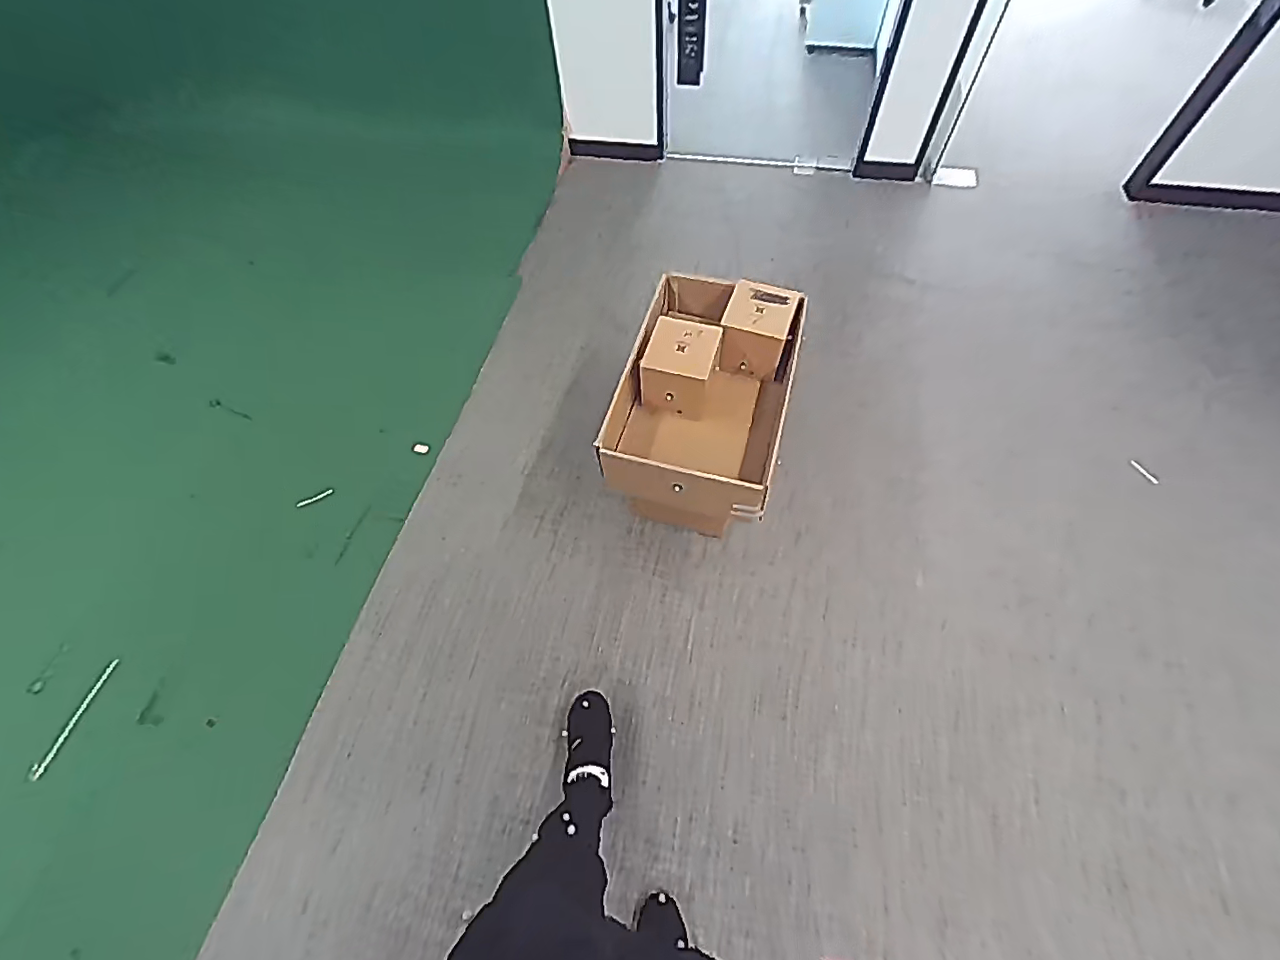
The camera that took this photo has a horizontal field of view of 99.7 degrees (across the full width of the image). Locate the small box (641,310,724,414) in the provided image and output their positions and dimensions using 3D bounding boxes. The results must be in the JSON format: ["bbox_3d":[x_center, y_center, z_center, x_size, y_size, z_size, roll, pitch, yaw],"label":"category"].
[{"bbox_3d":[0.107,-0.293,1.364,0.168,0.176,0.179,15,63,9],"label":"small box"}]
